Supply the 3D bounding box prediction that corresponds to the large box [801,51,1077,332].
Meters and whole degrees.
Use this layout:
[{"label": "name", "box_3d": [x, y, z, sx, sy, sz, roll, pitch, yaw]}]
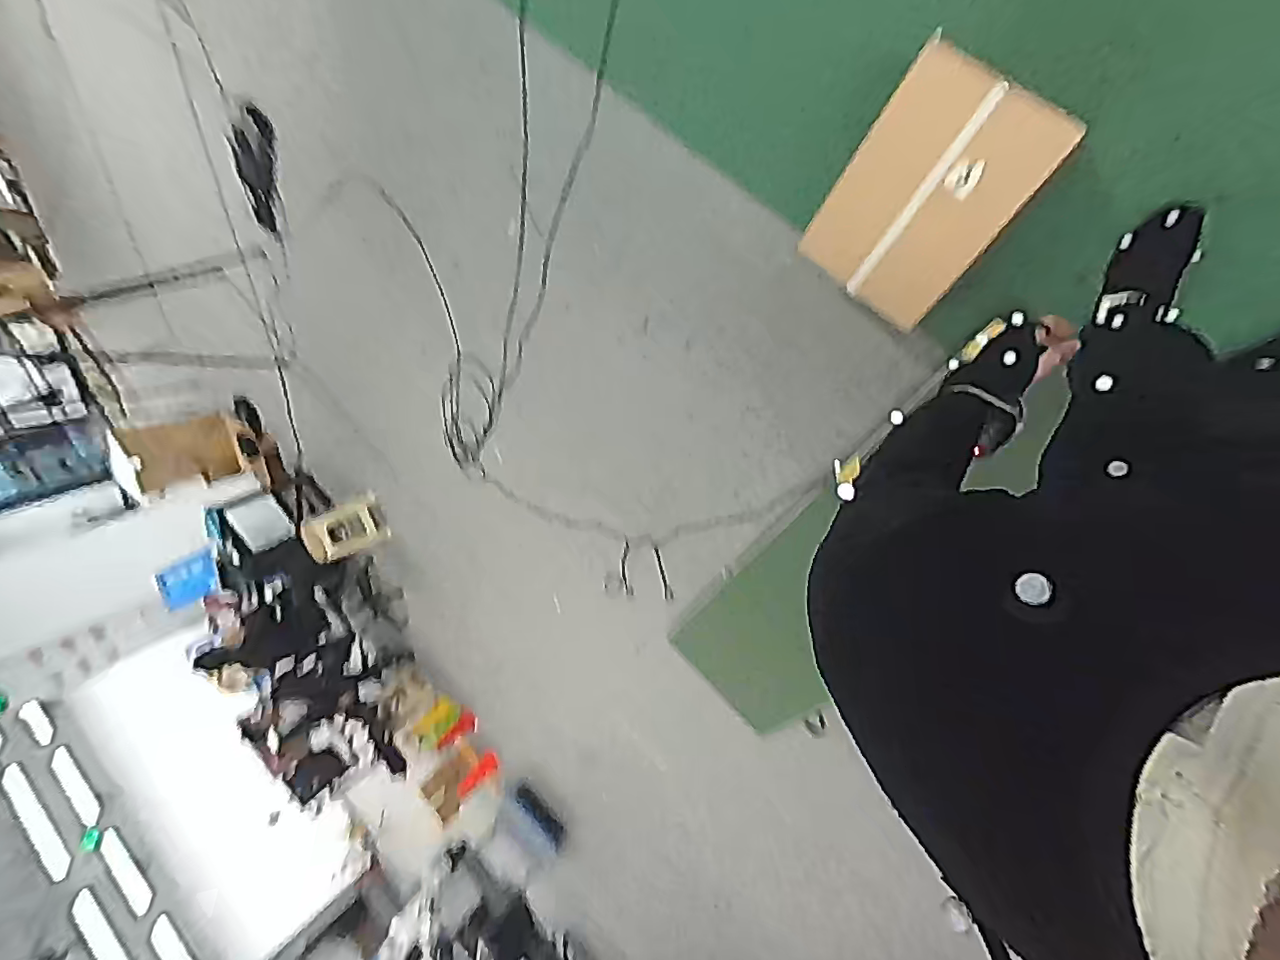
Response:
[{"label": "large box", "box_3d": [0.633, -0.593, 1.169, 0.320, 0.320, 0.408, 44, 132, 13]}]
